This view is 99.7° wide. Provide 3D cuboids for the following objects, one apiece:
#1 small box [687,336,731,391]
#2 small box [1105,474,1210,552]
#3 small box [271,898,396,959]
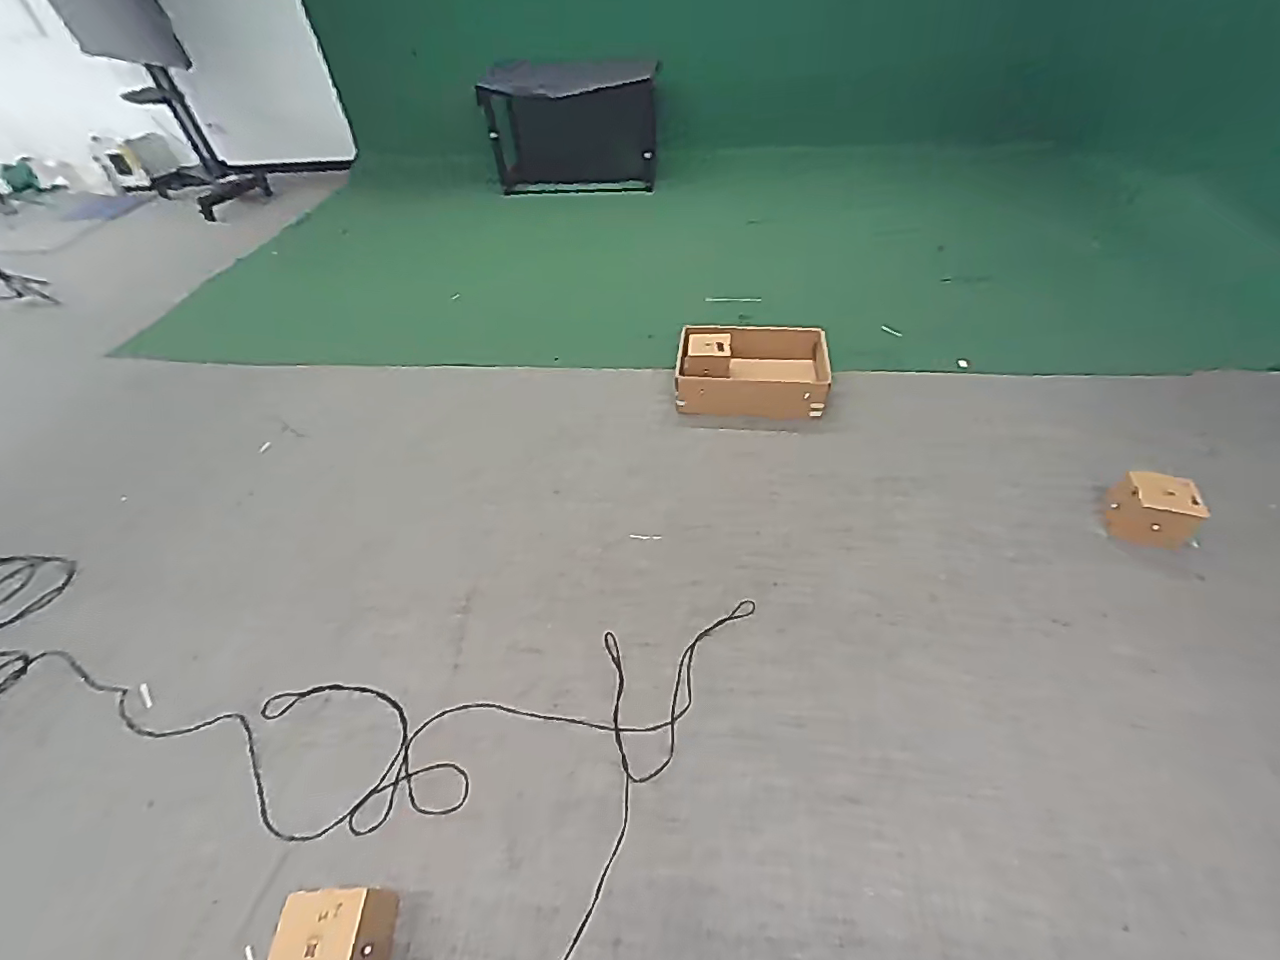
[{"bbox_3d":[0.296,-0.500,2.330,0.179,0.176,0.168,2,48,8],"label":"small box"},{"bbox_3d":[1.624,0.108,1.715,0.179,0.176,0.168,11,48,15],"label":"small box"},{"bbox_3d":[-0.615,0.962,1.082,0.168,0.176,0.179,-4,45,1],"label":"small box"}]
